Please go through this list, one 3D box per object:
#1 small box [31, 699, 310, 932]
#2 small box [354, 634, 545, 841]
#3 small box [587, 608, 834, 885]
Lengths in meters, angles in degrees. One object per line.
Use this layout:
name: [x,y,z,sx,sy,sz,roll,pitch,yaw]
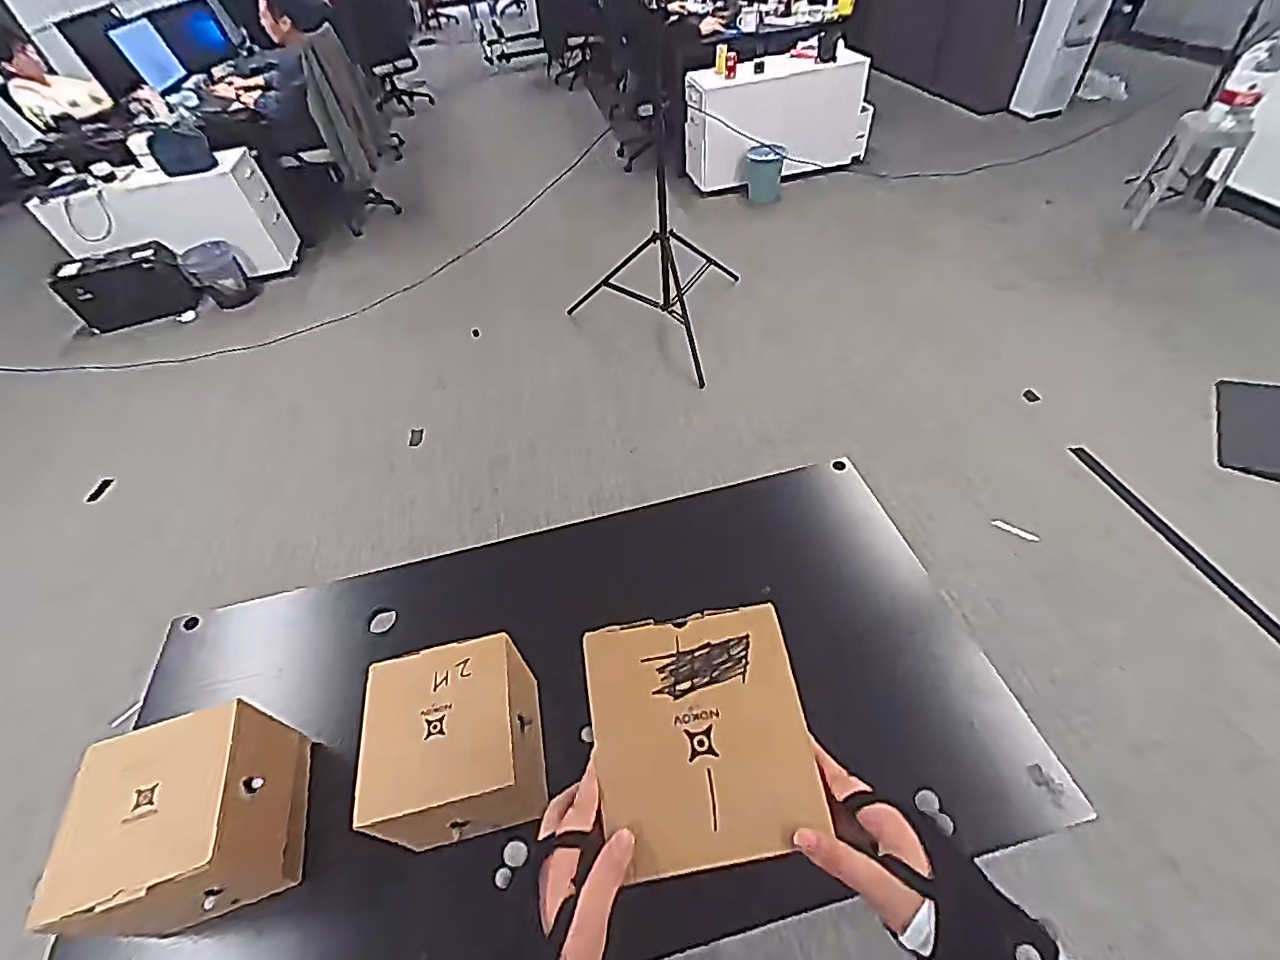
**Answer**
small box: [-0.516,0.393,0.633,0.168,0.176,0.179,-16,48,-9]
small box: [-0.218,0.320,0.660,0.168,0.176,0.179,-12,49,-5]
small box: [0.045,0.232,0.488,0.168,0.176,0.179,-8,63,-4]
